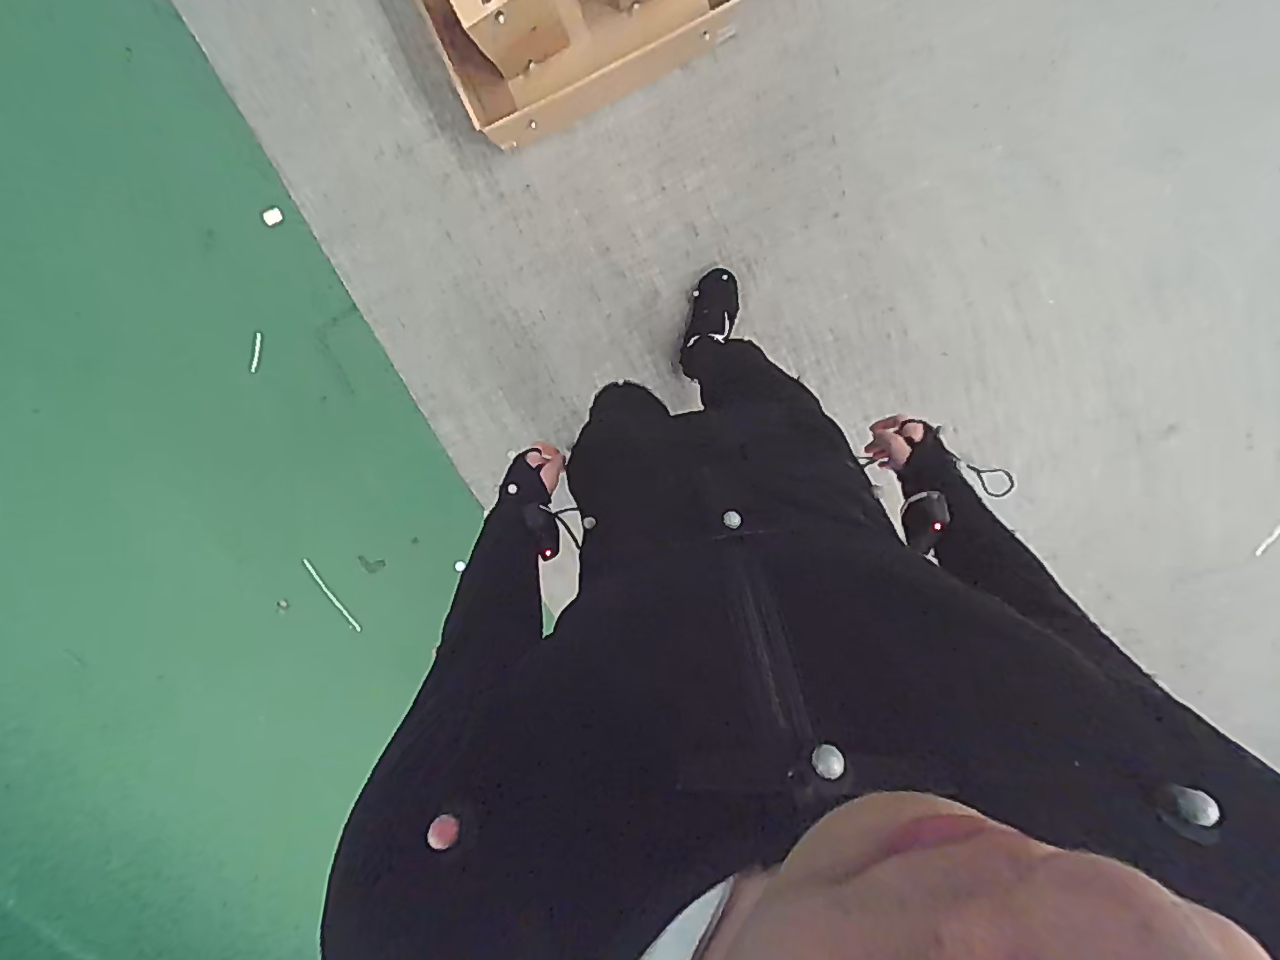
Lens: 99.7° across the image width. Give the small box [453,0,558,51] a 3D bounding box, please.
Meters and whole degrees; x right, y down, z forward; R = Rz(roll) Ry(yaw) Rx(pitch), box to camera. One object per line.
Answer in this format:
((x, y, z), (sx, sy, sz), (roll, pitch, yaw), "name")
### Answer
((-0.263, -0.913, 0.949), (0.168, 0.176, 0.179), (-23, 110, 11), "small box")
